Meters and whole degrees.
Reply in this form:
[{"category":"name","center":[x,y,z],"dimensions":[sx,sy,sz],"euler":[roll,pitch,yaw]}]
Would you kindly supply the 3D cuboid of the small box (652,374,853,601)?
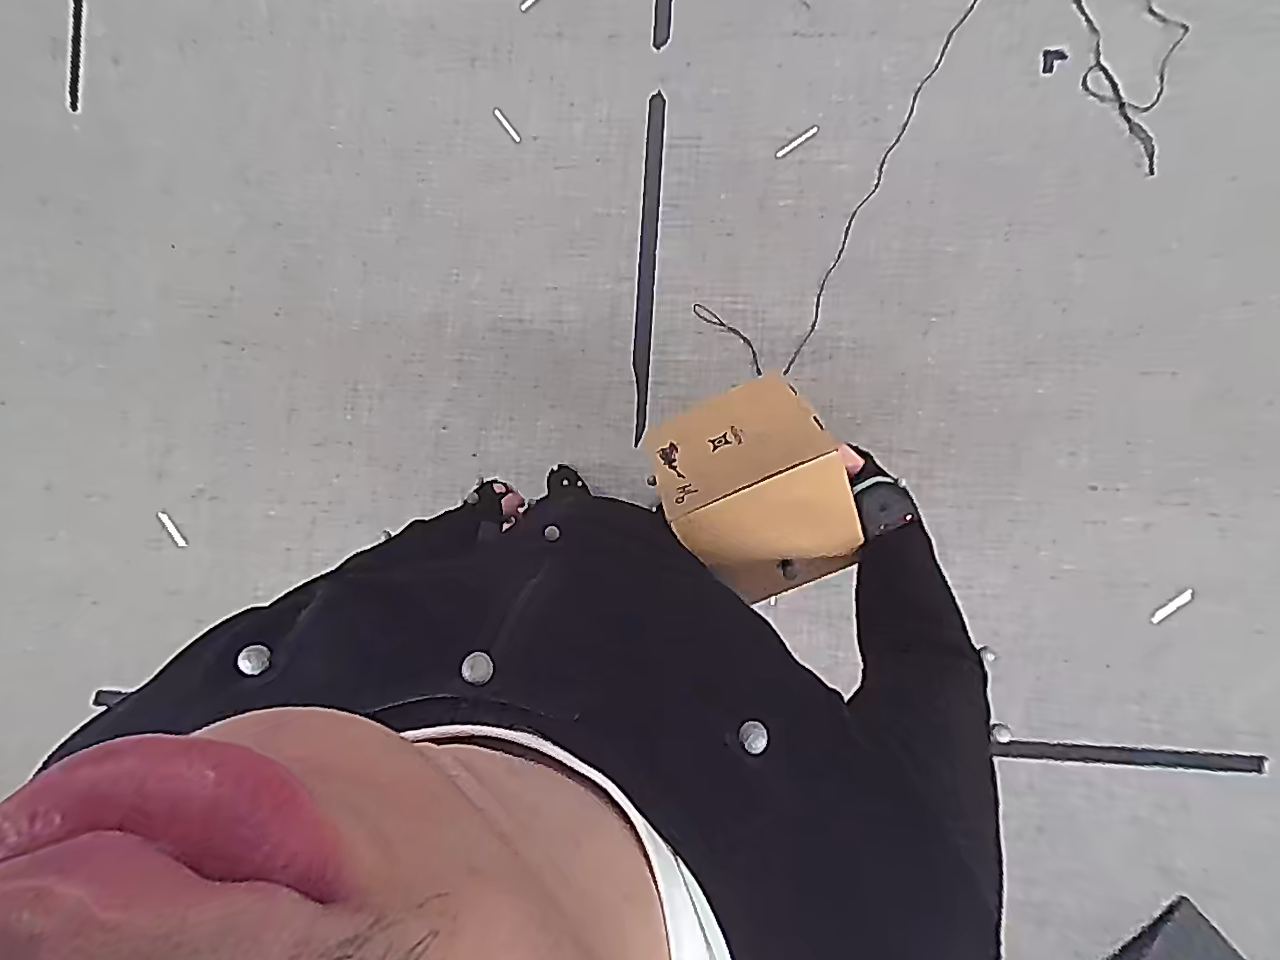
[{"category":"small box","center":[0.133,0.010,0.638],"dimensions":[0.179,0.168,0.176],"euler":[-24,125,8]}]
